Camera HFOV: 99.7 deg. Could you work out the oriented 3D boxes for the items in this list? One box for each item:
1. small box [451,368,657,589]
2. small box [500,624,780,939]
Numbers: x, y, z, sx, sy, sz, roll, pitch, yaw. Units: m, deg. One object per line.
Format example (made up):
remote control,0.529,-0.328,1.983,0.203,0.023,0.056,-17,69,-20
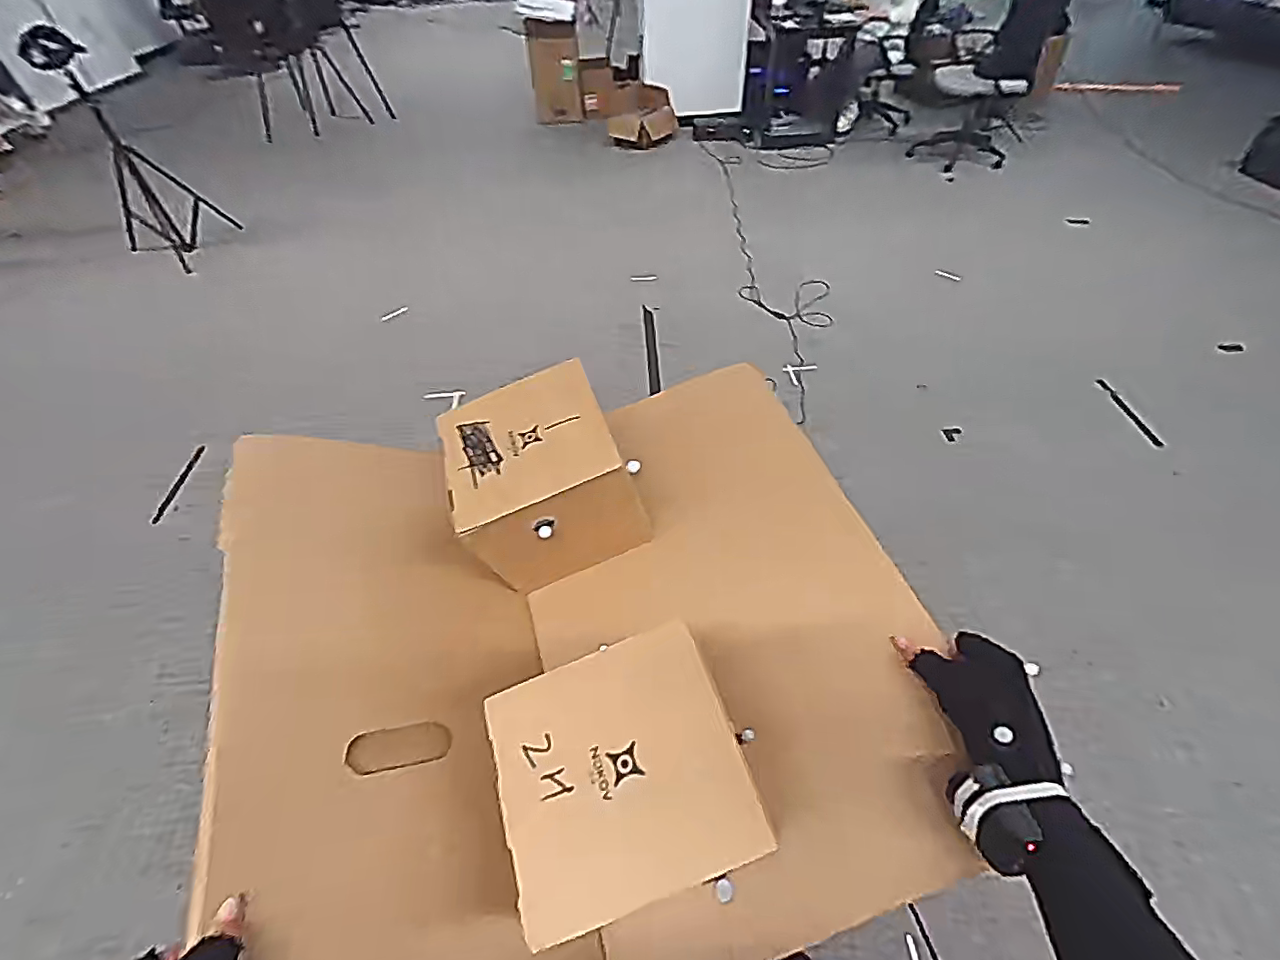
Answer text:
small box,-0.096,0.006,0.642,0.179,0.176,0.168,-22,56,-1
small box,0.005,0.250,0.465,0.179,0.176,0.168,-22,56,1
